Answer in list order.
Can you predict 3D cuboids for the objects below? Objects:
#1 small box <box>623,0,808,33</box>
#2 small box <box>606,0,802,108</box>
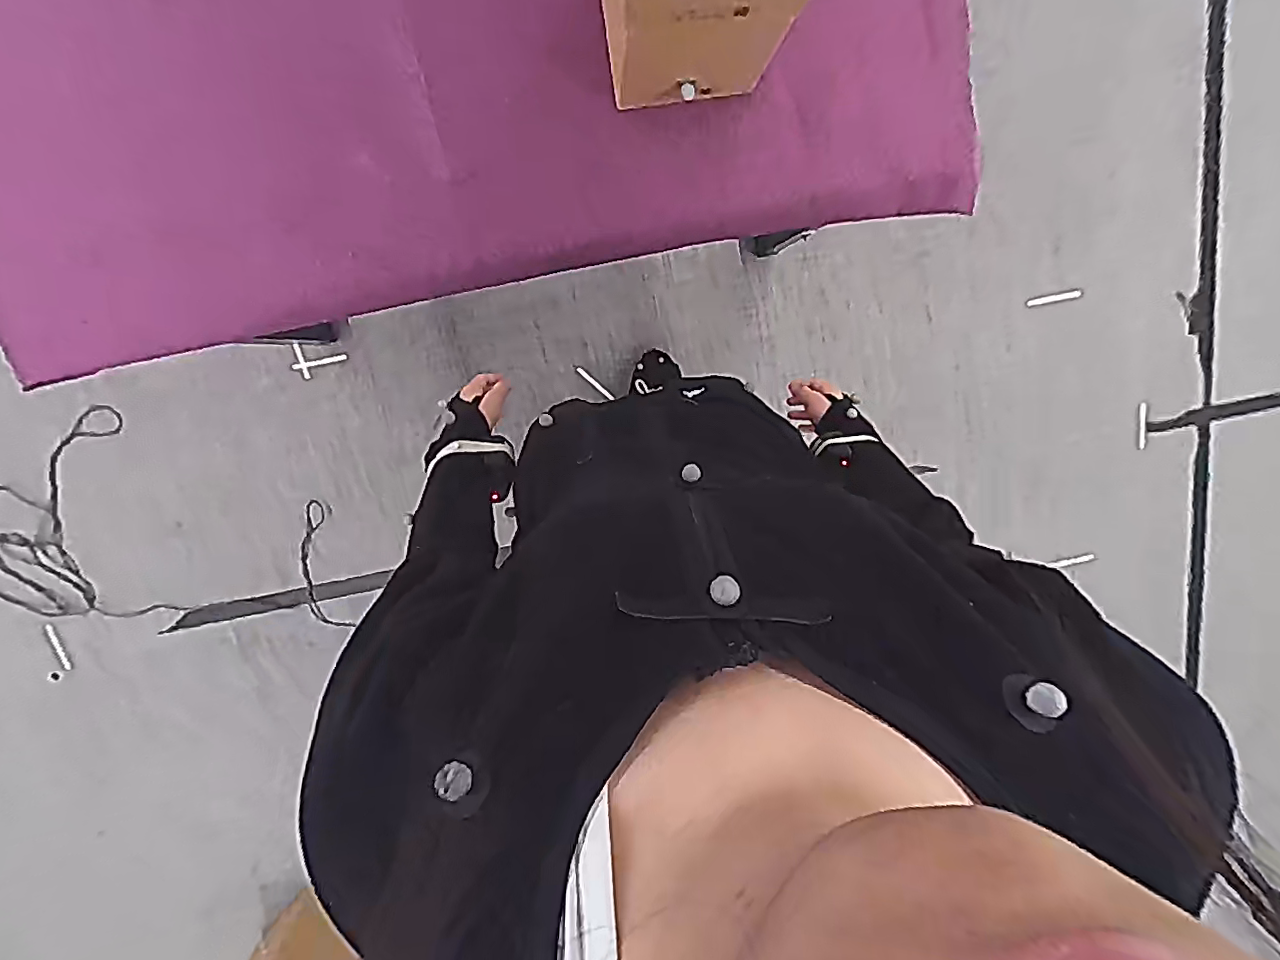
[{"bbox_3d":[0.064,-0.474,0.389,0.168,0.176,0.179,-7,103,-2],"label":"small box"},{"bbox_3d":[0.051,-0.516,0.547,0.168,0.176,0.179,-9,104,-2],"label":"small box"}]
